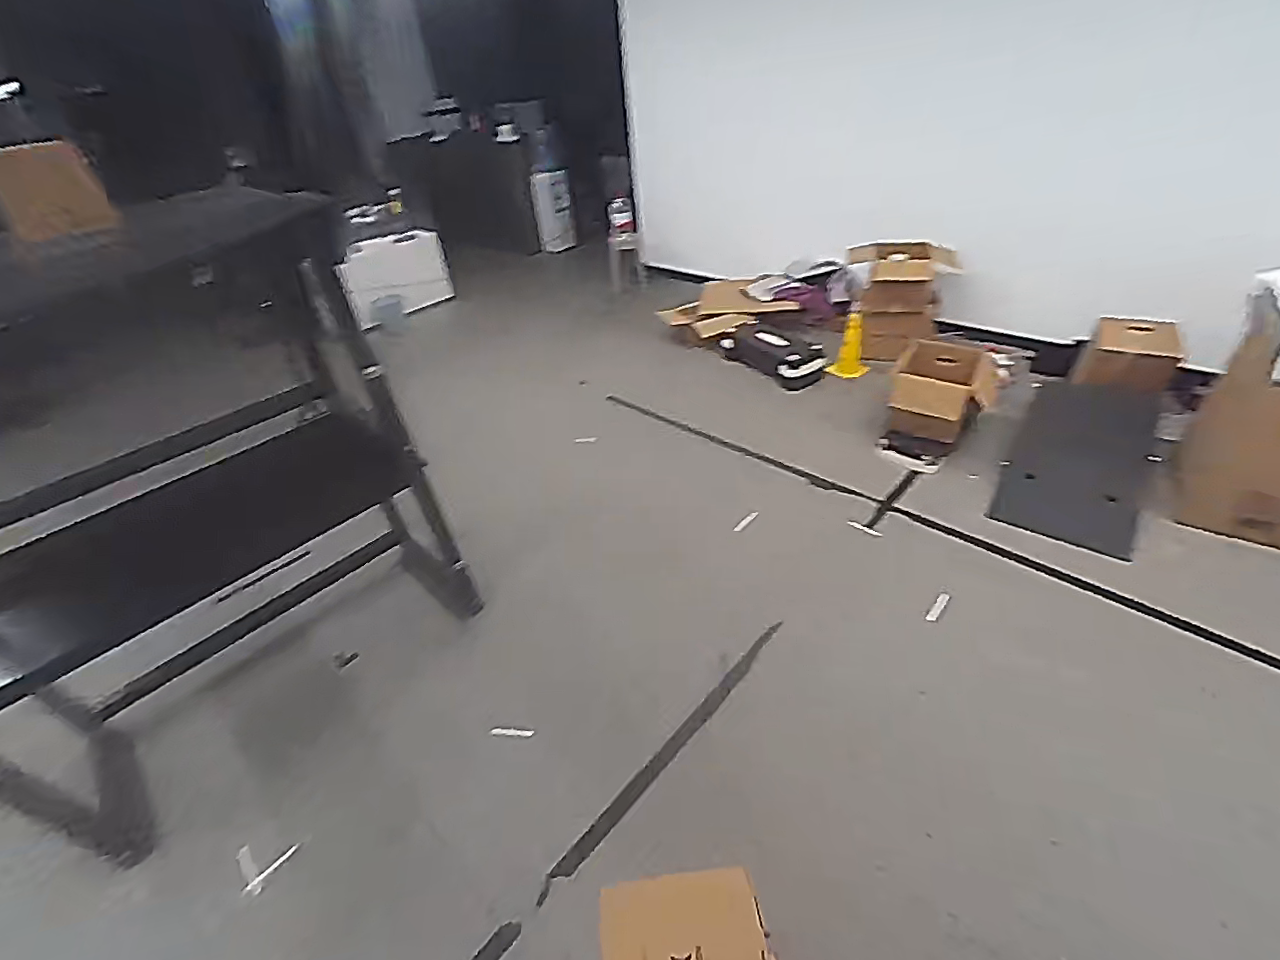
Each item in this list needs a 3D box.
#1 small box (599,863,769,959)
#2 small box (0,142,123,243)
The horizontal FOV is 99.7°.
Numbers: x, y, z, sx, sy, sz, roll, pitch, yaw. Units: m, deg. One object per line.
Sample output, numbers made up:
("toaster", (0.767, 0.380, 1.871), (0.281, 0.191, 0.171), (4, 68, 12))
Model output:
("small box", (0.053, 0.562, 0.604), (0.179, 0.176, 0.168), (-8, 37, -2))
("small box", (-1.296, -0.637, 1.195), (0.168, 0.176, 0.179), (-31, 44, -27))
